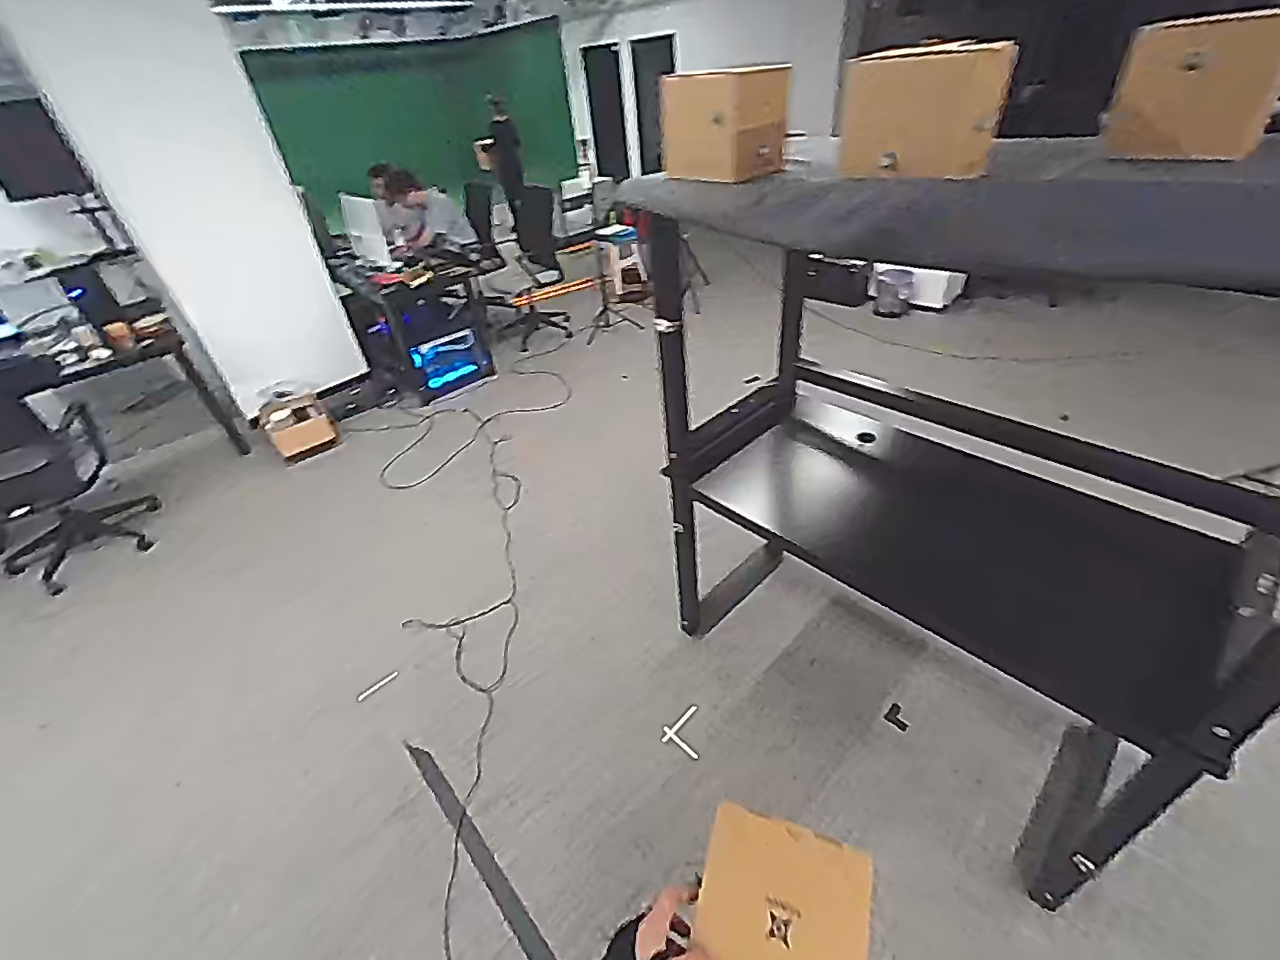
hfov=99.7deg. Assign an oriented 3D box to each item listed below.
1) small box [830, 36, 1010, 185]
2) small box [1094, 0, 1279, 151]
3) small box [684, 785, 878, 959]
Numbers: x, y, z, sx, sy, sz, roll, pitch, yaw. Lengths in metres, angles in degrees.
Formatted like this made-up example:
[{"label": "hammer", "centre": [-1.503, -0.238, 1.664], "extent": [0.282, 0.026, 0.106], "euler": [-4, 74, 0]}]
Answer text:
[{"label": "small box", "centre": [0.415, -0.558, 0.824], "extent": [0.168, 0.176, 0.179], "euler": [-33, 45, -32]}, {"label": "small box", "centre": [0.835, -0.604, 0.815], "extent": [0.168, 0.176, 0.179], "euler": [-34, 45, -30]}, {"label": "small box", "centre": [0.147, 0.469, 0.585], "extent": [0.168, 0.176, 0.179], "euler": [12, 50, 15]}]
